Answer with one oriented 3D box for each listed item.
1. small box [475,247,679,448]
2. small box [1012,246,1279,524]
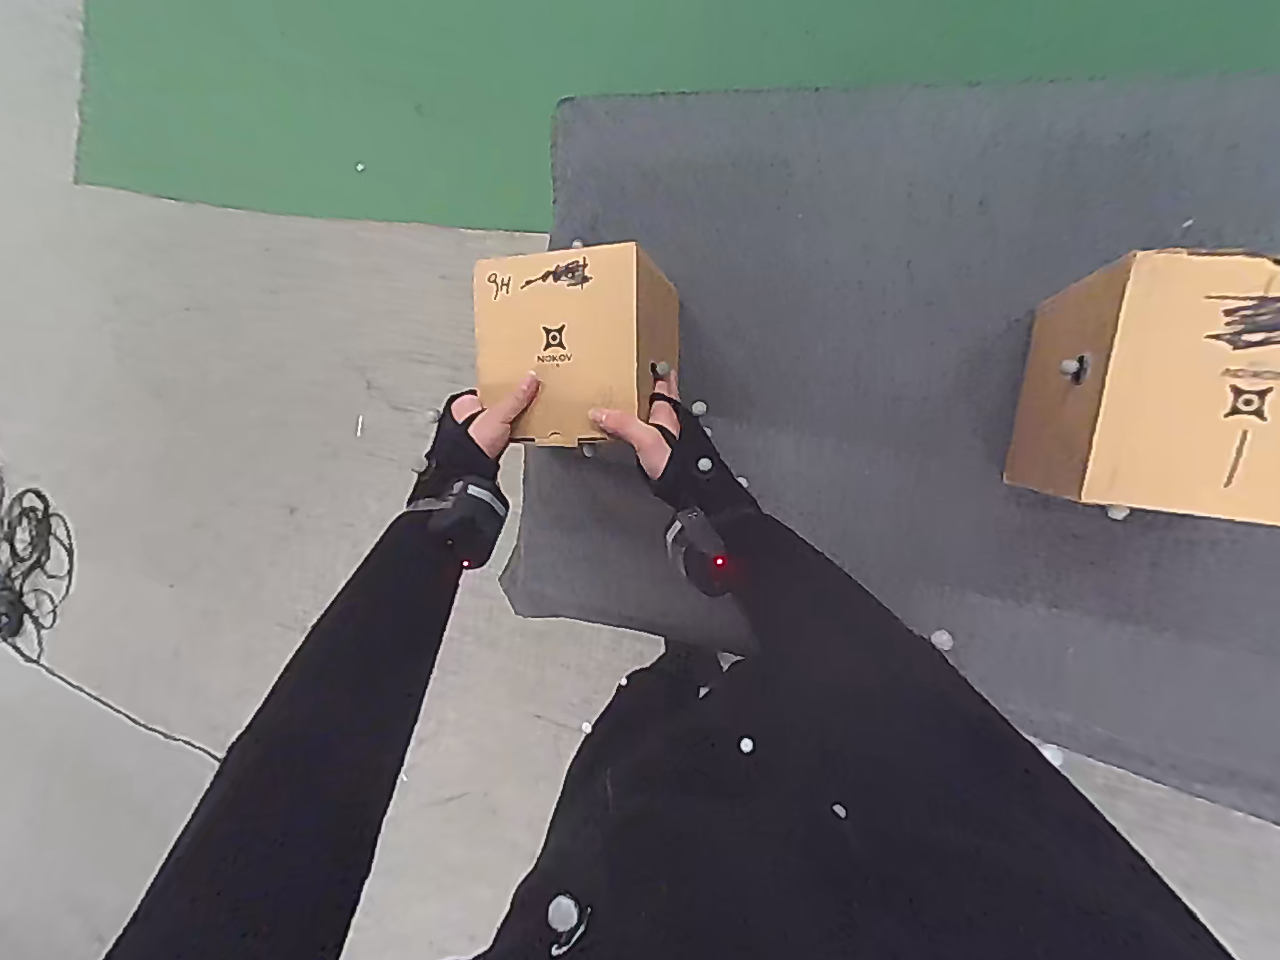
[{"bbox_3d":[-0.055,-0.126,0.577,0.168,0.176,0.179,0,95,17],"label":"small box"},{"bbox_3d":[0.424,-0.067,0.425,0.168,0.176,0.179,8,98,17],"label":"small box"}]
